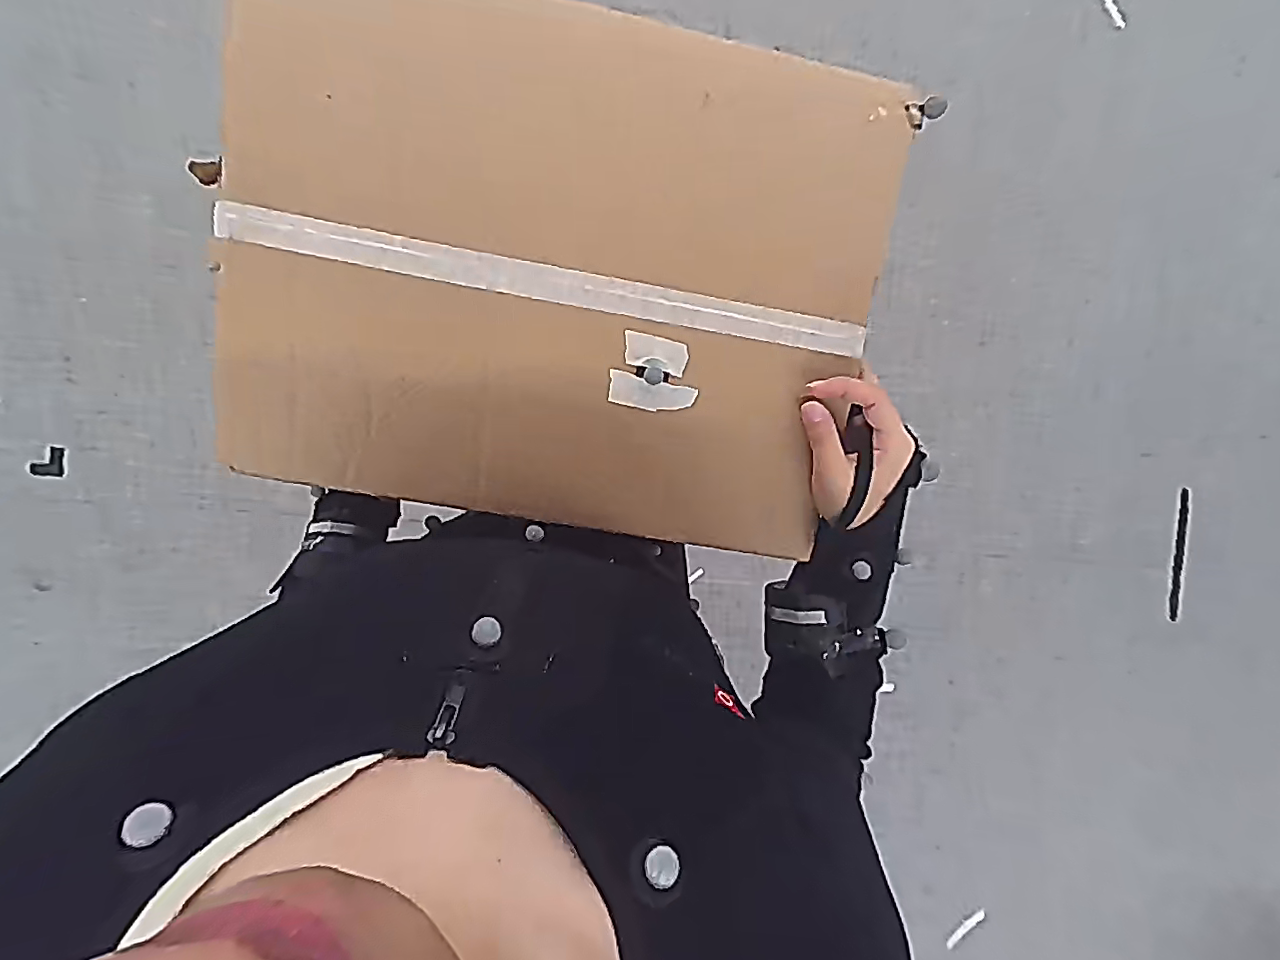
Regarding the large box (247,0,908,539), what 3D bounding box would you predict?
[{"bbox_3d":[-0.057,-0.157,0.499,0.408,0.320,0.320,9,102,-7],"label":"large box"}]
